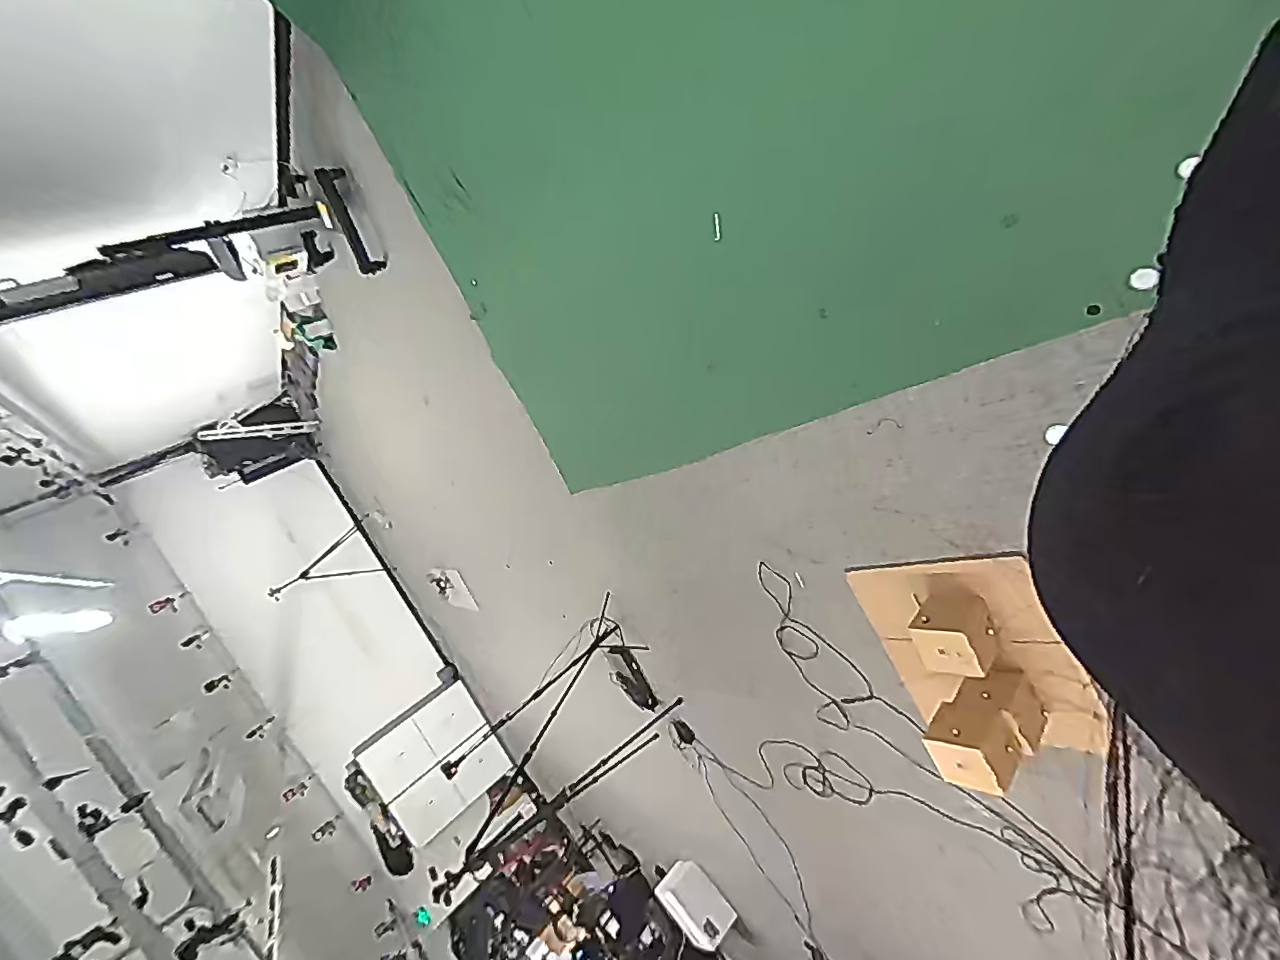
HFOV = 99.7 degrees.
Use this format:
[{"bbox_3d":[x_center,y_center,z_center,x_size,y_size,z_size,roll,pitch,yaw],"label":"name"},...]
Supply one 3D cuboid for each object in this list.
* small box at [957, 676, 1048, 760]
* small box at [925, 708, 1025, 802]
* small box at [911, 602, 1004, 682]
[{"bbox_3d":[1.129,0.730,1.677,0.168,0.176,0.179,58,146,-3],"label":"small box"},{"bbox_3d":[0.999,0.807,1.609,0.179,0.176,0.168,-23,99,56],"label":"small box"},{"bbox_3d":[0.982,0.493,1.669,0.179,0.176,0.168,-16,105,54],"label":"small box"}]
